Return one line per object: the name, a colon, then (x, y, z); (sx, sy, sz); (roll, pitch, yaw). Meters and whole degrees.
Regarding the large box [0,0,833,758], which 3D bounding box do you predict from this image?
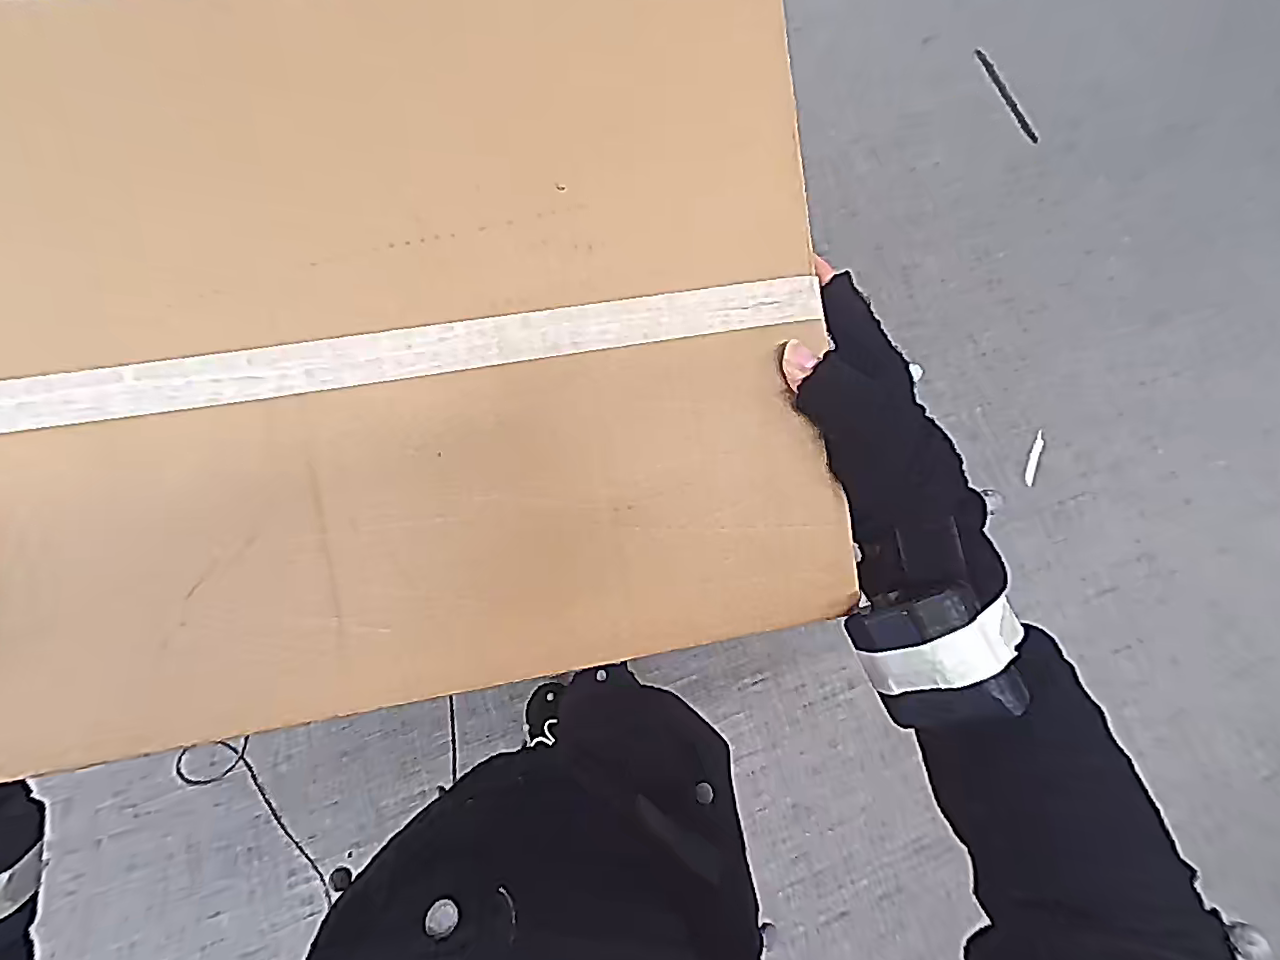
large box: (-0.130, -0.066, 0.400); (0.408, 0.320, 0.320); (-9, 94, -6)
